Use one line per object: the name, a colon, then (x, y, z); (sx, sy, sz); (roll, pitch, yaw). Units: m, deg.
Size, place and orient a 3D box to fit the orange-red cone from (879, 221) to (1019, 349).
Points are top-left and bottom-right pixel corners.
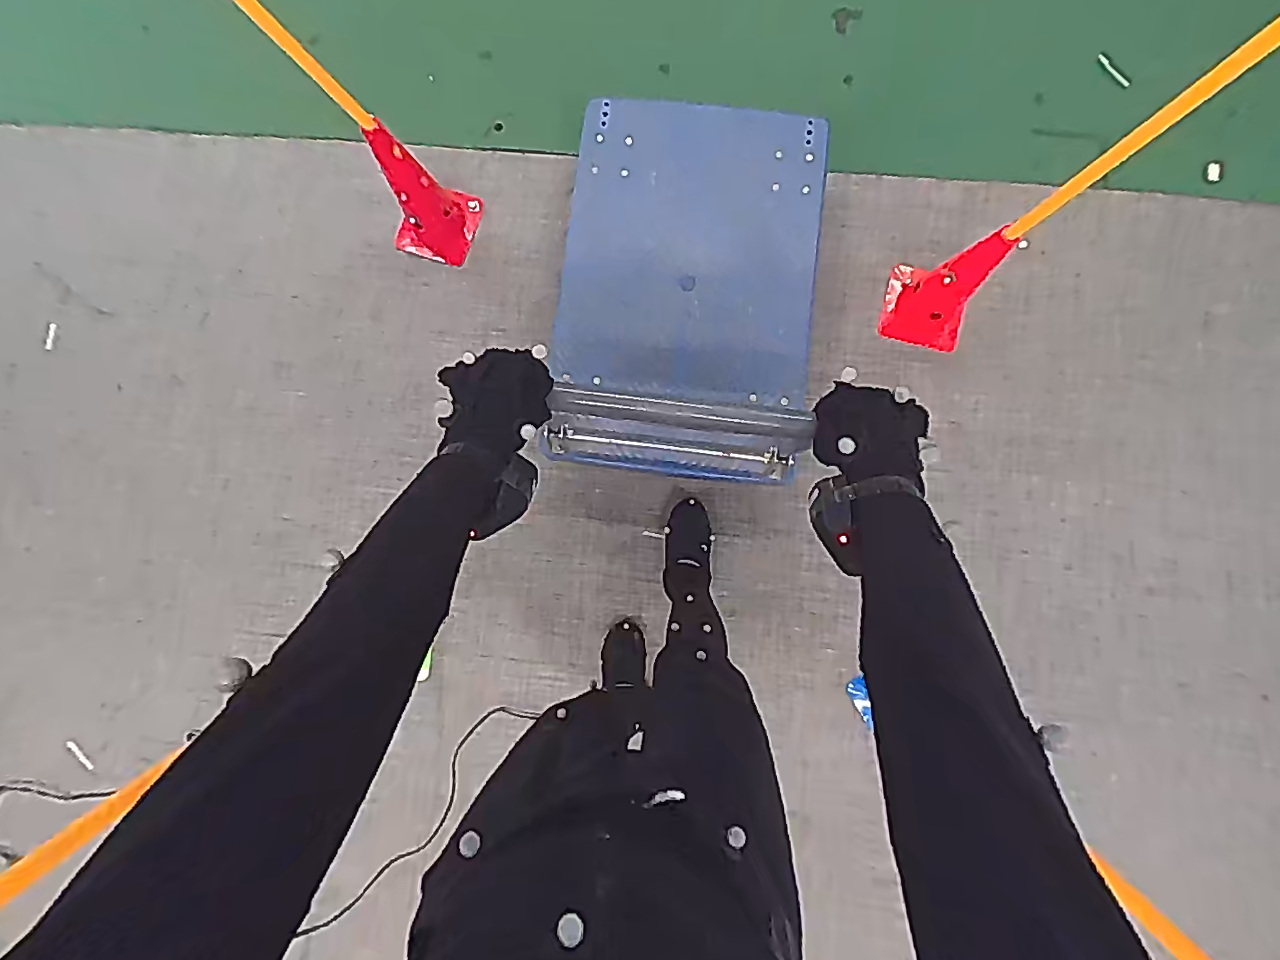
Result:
orange-red cone: (0.722, -0.463, 1.216); (0.198, 0.360, 0.199); (16, 86, 4)
